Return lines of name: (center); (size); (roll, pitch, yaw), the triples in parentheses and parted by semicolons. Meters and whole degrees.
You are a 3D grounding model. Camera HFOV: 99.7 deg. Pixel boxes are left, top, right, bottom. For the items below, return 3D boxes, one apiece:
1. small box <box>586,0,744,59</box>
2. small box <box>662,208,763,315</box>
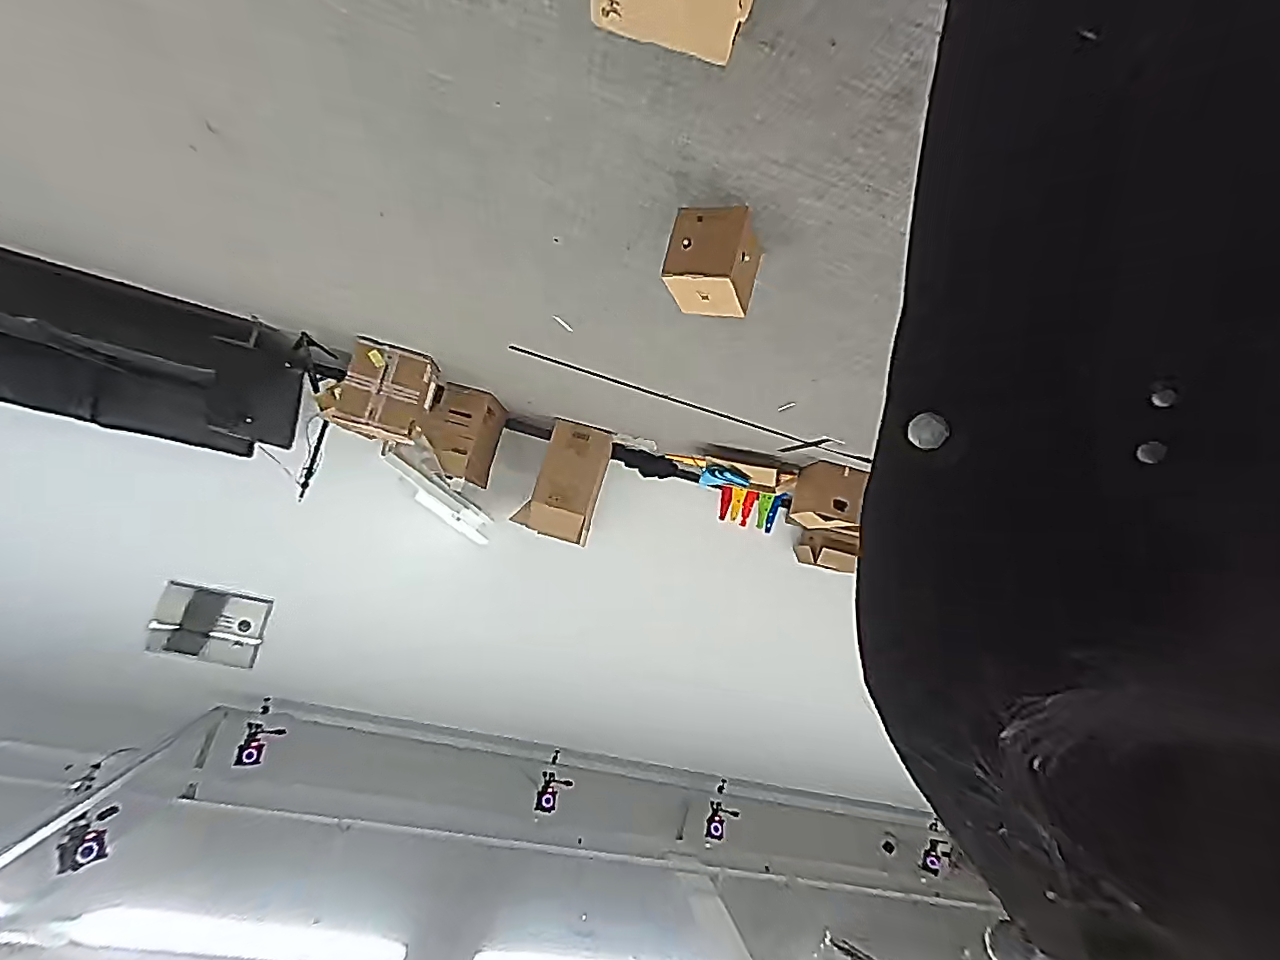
small box: (0.046, -0.613, 0.575); (0.179, 0.176, 0.168); (14, 173, -4)
small box: (0.171, -0.500, 1.240); (0.168, 0.176, 0.179); (13, 174, 26)
